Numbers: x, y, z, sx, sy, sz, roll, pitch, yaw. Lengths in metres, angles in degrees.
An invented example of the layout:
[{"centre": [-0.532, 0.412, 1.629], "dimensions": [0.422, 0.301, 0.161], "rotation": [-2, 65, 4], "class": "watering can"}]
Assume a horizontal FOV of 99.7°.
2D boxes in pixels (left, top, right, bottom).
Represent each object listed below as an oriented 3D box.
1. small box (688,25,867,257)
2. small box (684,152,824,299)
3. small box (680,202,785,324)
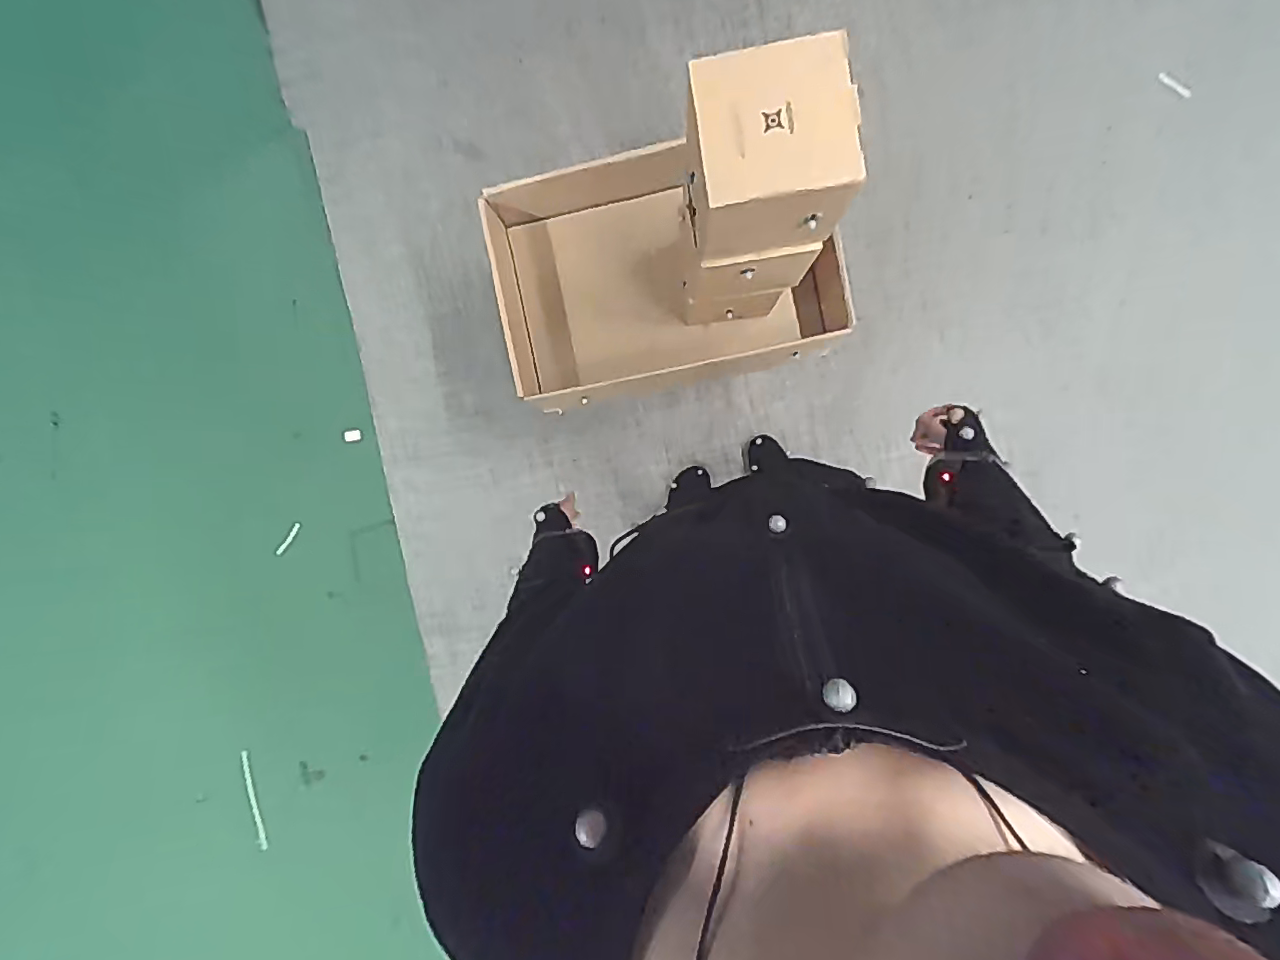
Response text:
[{"centre": [0.155, -0.396, 0.664], "dimensions": [0.179, 0.176, 0.168], "rotation": [-8, 90, 6], "class": "small box"}, {"centre": [0.165, -0.390, 0.827], "dimensions": [0.179, 0.176, 0.168], "rotation": [-7, 91, 4], "class": "small box"}, {"centre": [0.165, -0.395, 0.991], "dimensions": [0.168, 0.176, 0.179], "rotation": [-6, 90, 5], "class": "small box"}]
